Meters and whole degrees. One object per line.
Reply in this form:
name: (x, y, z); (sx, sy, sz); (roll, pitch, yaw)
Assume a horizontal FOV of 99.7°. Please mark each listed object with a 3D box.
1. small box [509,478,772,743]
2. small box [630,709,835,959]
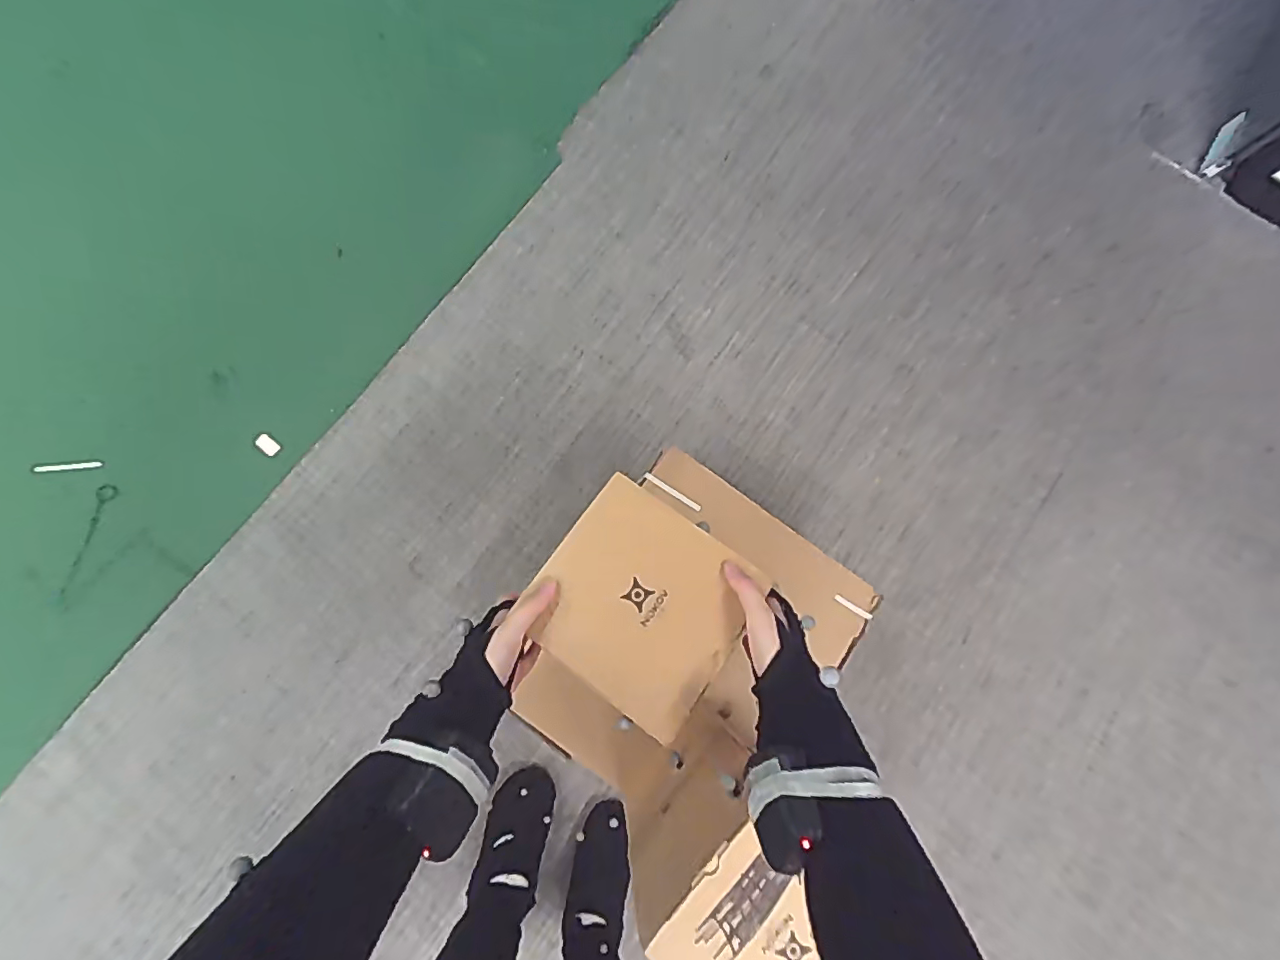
small box: (-0.002, 0.131, 0.547); (0.179, 0.176, 0.168); (35, 75, 8)
small box: (0.100, 0.420, 0.678); (0.168, 0.176, 0.179); (39, 78, 4)
